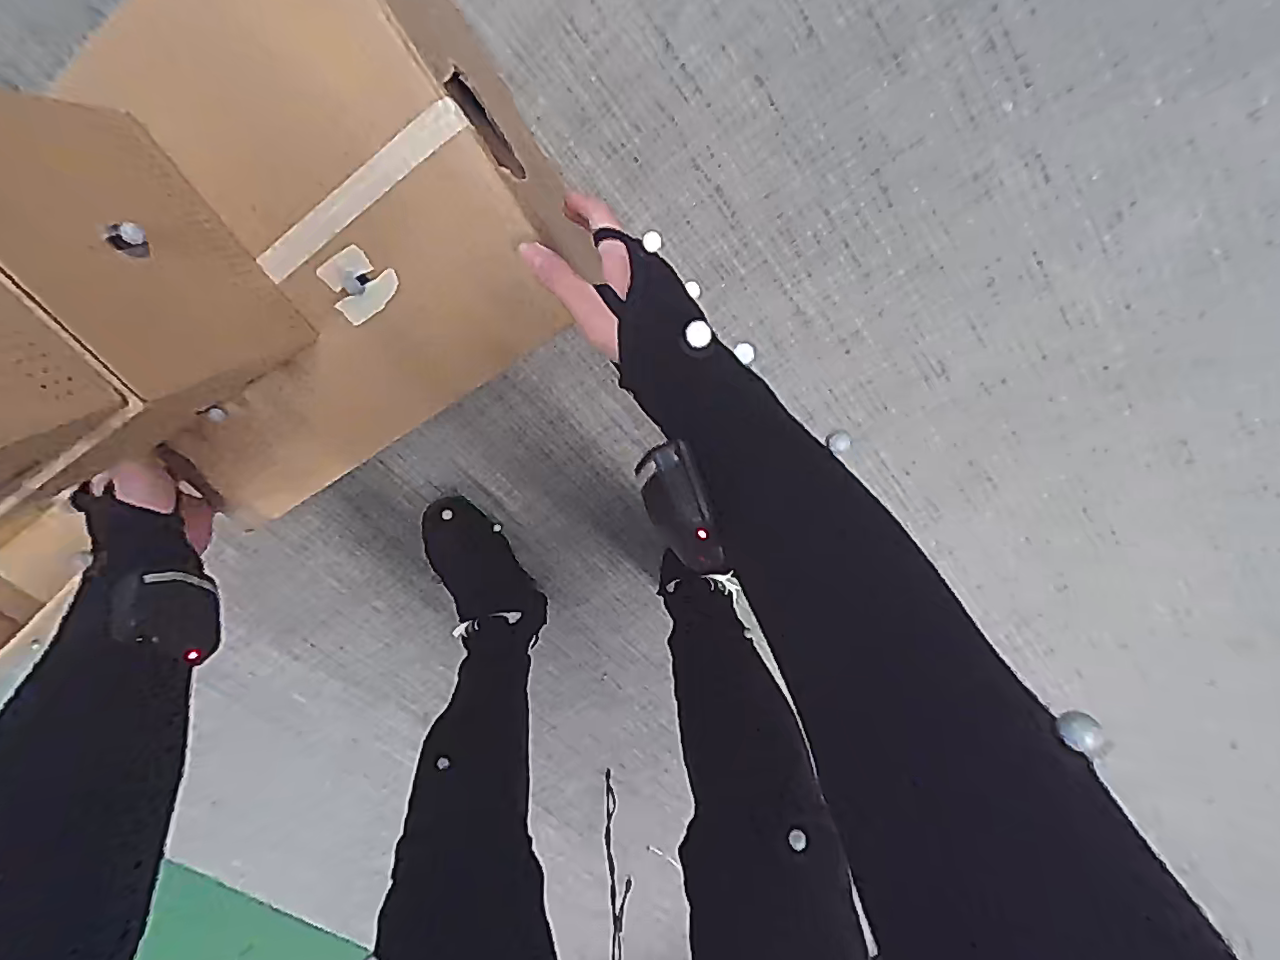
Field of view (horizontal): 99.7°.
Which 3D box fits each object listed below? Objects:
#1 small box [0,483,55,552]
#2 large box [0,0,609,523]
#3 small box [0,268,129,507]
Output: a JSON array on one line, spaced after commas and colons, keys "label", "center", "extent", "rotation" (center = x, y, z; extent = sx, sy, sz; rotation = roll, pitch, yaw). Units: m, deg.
[{"label": "small box", "center": [-0.999, 0.048, 0.740], "extent": [0.168, 0.176, 0.179], "rotation": [-32, 113, 13]}, {"label": "large box", "center": [-0.284, -0.230, 0.557], "extent": [0.408, 0.320, 0.320], "rotation": [-29, 114, 14]}, {"label": "small box", "center": [-0.374, -0.037, 0.198], "extent": [0.168, 0.176, 0.179], "rotation": [-27, 114, 14]}]
